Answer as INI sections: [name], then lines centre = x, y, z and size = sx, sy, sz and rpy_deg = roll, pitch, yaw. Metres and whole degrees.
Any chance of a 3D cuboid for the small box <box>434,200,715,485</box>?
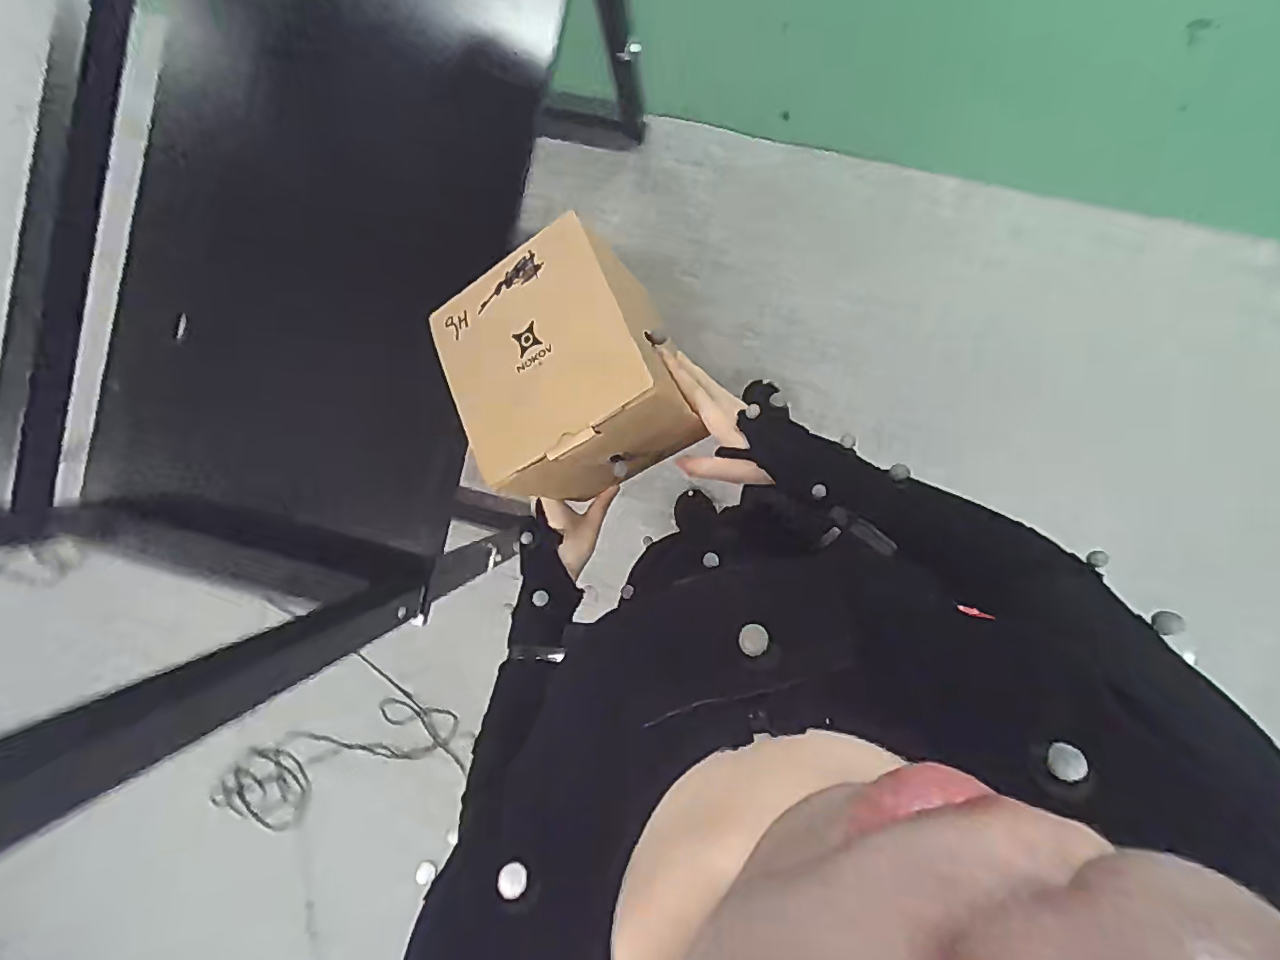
[small box]
centre = -0.050, -0.104, 0.501
size = 0.168, 0.176, 0.179
rpy_deg = -27, 75, 18
